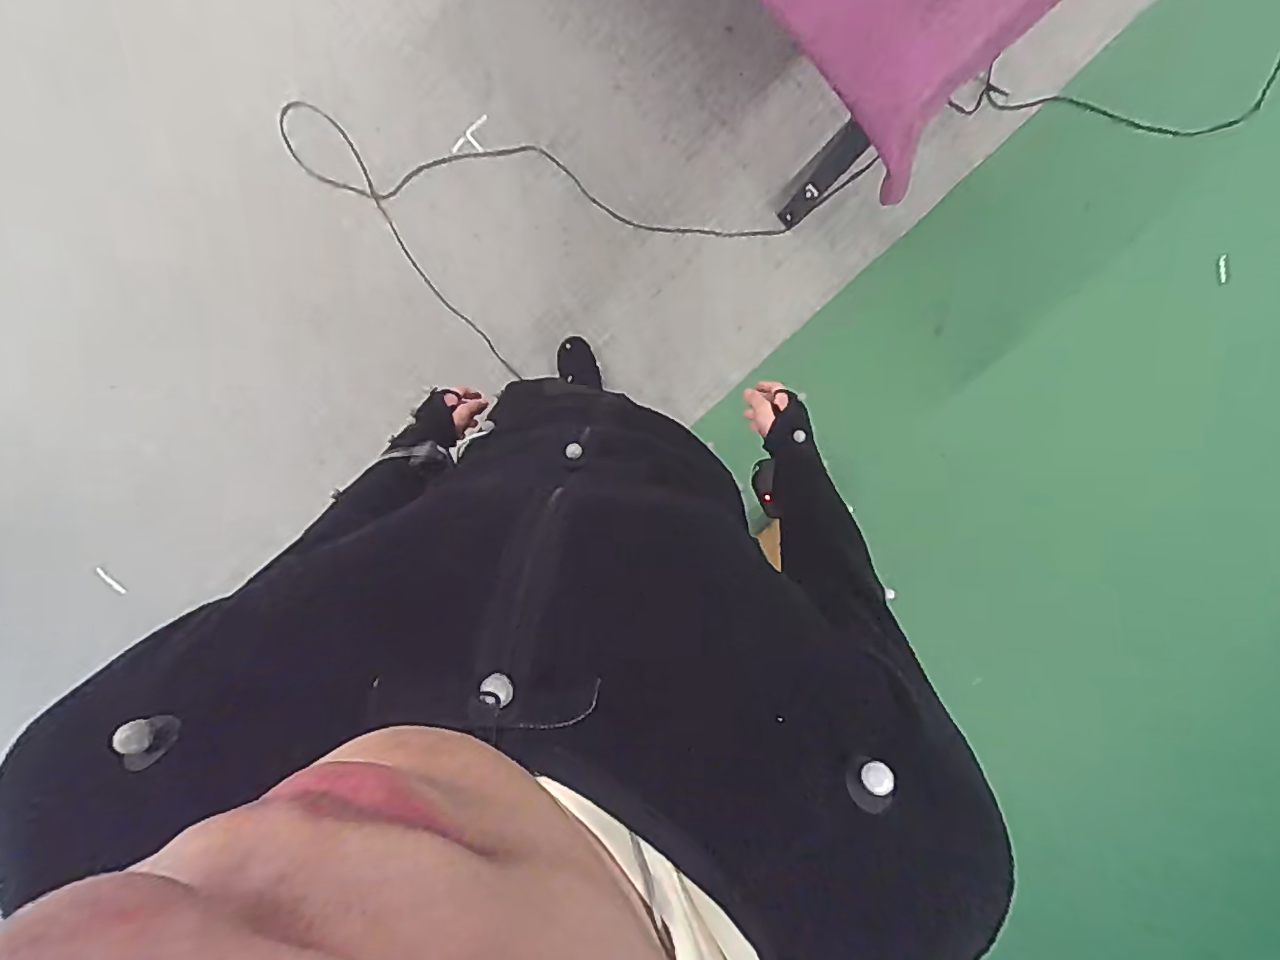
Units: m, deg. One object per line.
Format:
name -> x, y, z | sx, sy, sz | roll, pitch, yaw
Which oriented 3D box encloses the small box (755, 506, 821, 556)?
small box -> 0.464, 0.194, 1.590 | 0.179, 0.176, 0.168 | 44, 98, -9
